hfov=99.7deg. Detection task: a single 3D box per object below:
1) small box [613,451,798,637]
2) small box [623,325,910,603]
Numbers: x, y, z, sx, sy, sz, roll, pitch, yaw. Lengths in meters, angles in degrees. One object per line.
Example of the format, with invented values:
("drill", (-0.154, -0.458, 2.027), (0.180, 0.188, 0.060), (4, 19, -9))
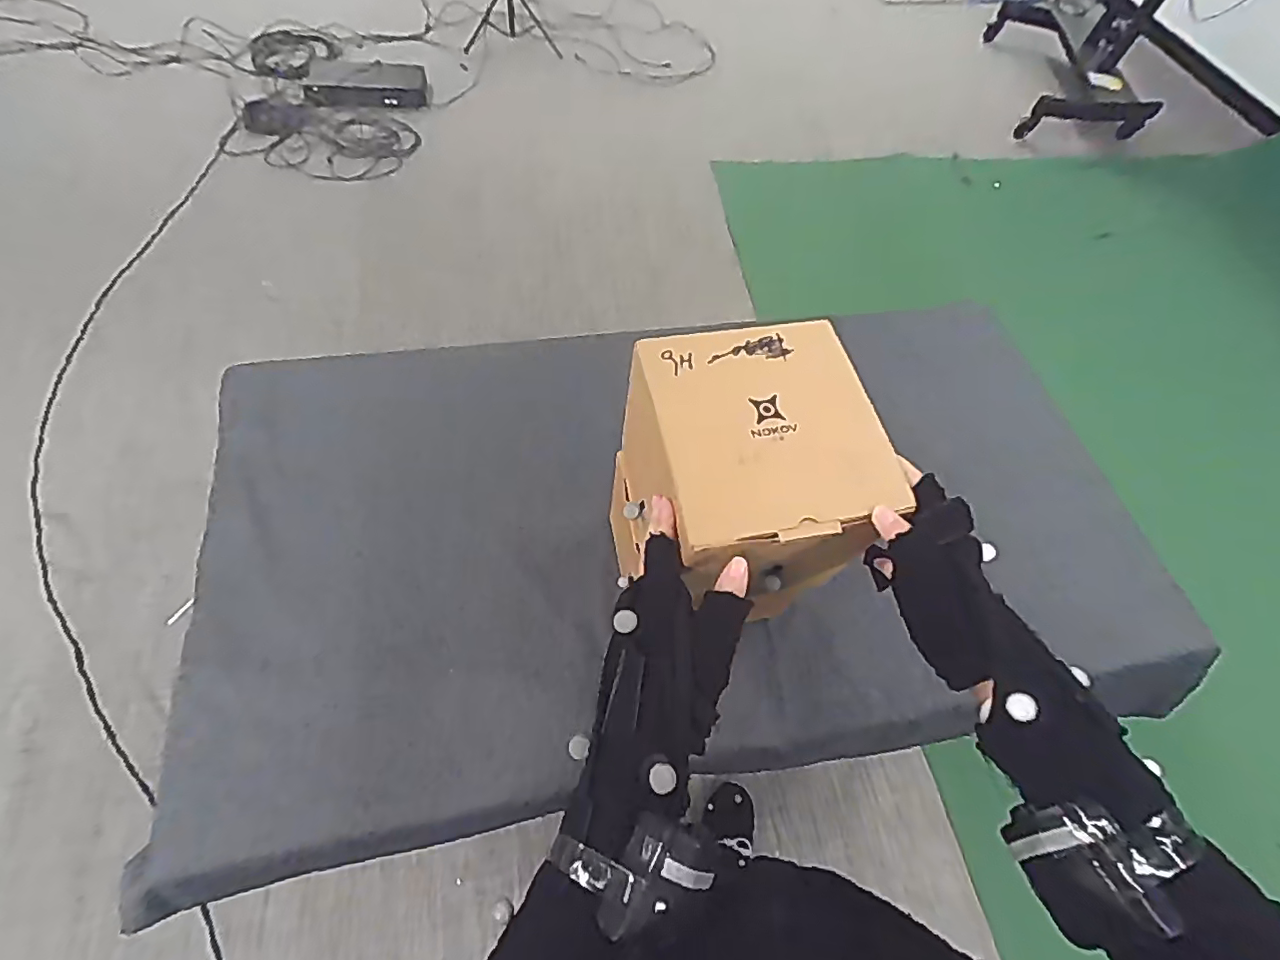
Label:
("small box", (0.067, 0.068, 0.607), (0.179, 0.176, 0.168), (-7, 64, -11))
("small box", (0.083, -0.002, 0.460), (0.168, 0.176, 0.179), (-8, 65, -10))
